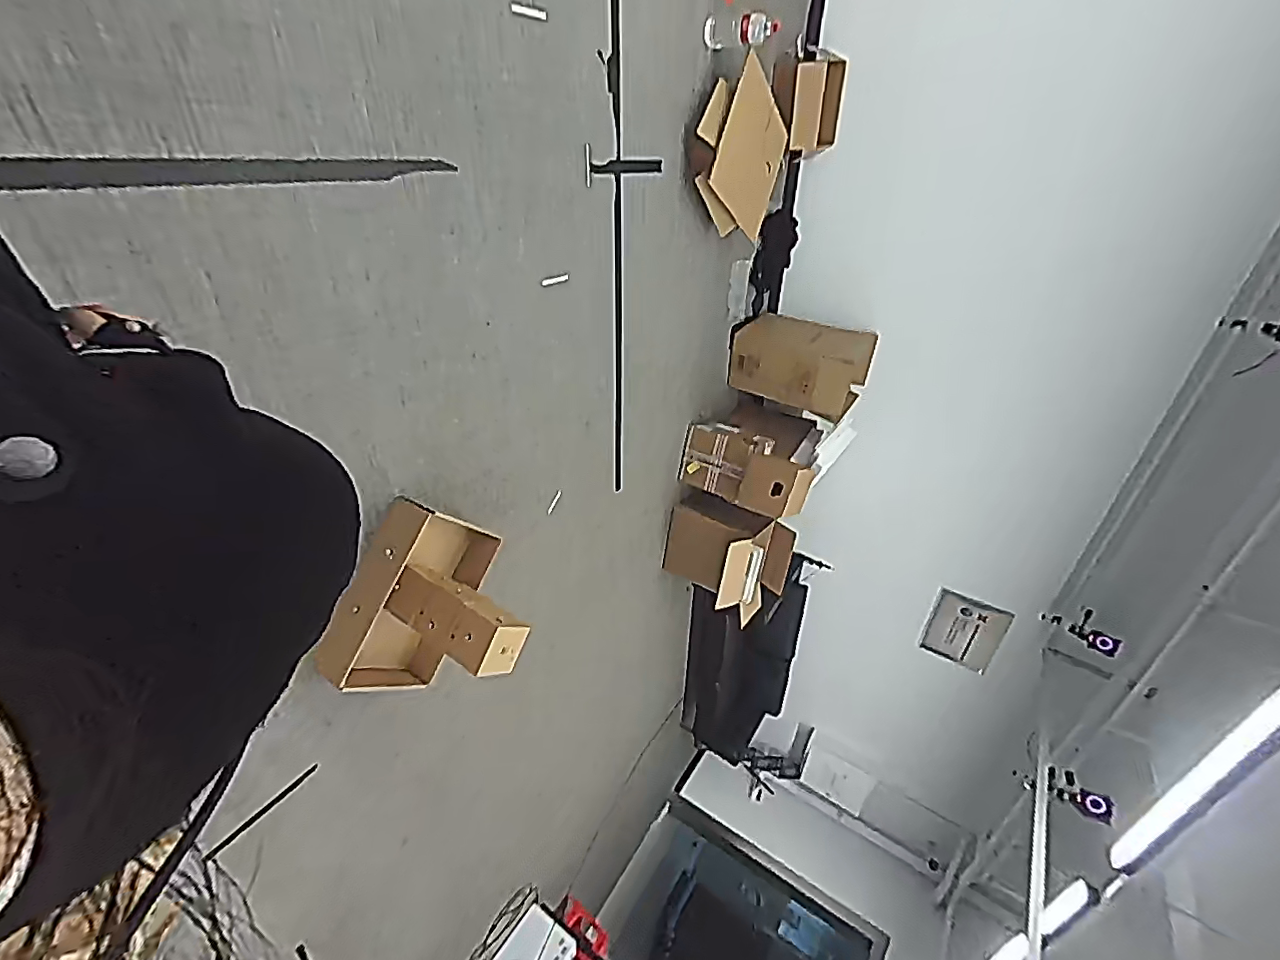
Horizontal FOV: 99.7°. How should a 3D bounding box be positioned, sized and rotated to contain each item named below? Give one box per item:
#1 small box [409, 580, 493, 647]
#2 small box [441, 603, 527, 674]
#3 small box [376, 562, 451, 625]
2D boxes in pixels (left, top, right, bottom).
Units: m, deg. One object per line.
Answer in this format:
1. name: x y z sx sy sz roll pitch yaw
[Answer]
1. small box: -0.641 0.451 1.829 0.168 0.176 0.179 -66 154 -3
2. small box: -0.507 0.509 1.751 0.168 0.176 0.179 -65 152 -3
3. small box: -0.778 0.403 1.900 0.168 0.176 0.179 -65 152 -8
